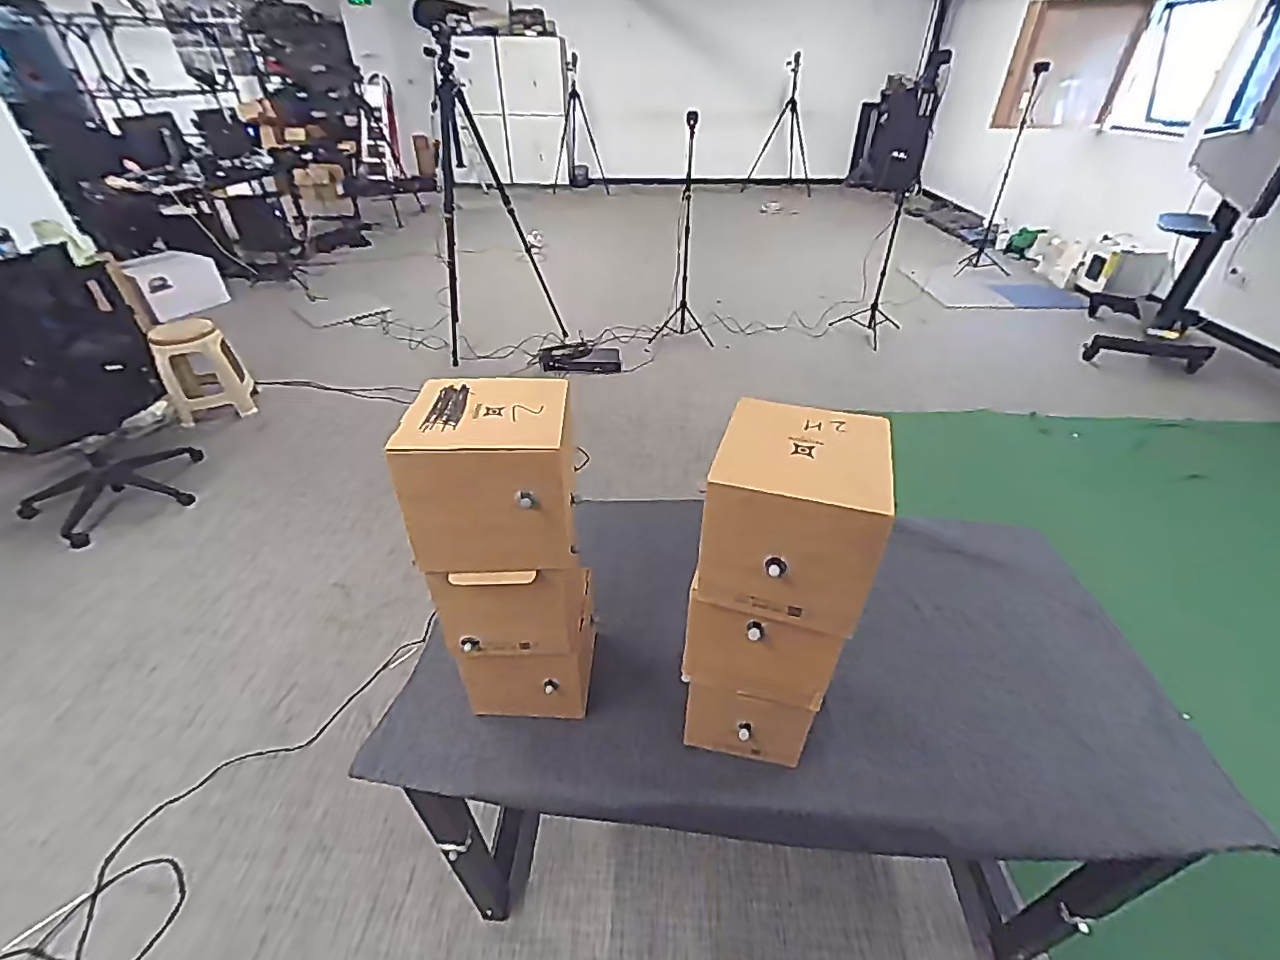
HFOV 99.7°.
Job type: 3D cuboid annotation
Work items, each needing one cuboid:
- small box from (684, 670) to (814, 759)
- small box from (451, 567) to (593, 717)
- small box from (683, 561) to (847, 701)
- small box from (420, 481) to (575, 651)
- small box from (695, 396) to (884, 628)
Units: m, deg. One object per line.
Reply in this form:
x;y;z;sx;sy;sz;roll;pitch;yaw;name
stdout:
0.159;0.281;0.801;0.168;0.176;0.179;7;38;10;small box
-0.169;0.252;0.847;0.179;0.176;0.168;0;35;2;small box
0.160;0.156;0.696;0.179;0.176;0.168;9;38;15;small box
-0.180;0.120;0.748;0.168;0.176;0.179;-1;35;-2;small box
0.158;0.031;0.586;0.168;0.176;0.179;11;38;15;small box
